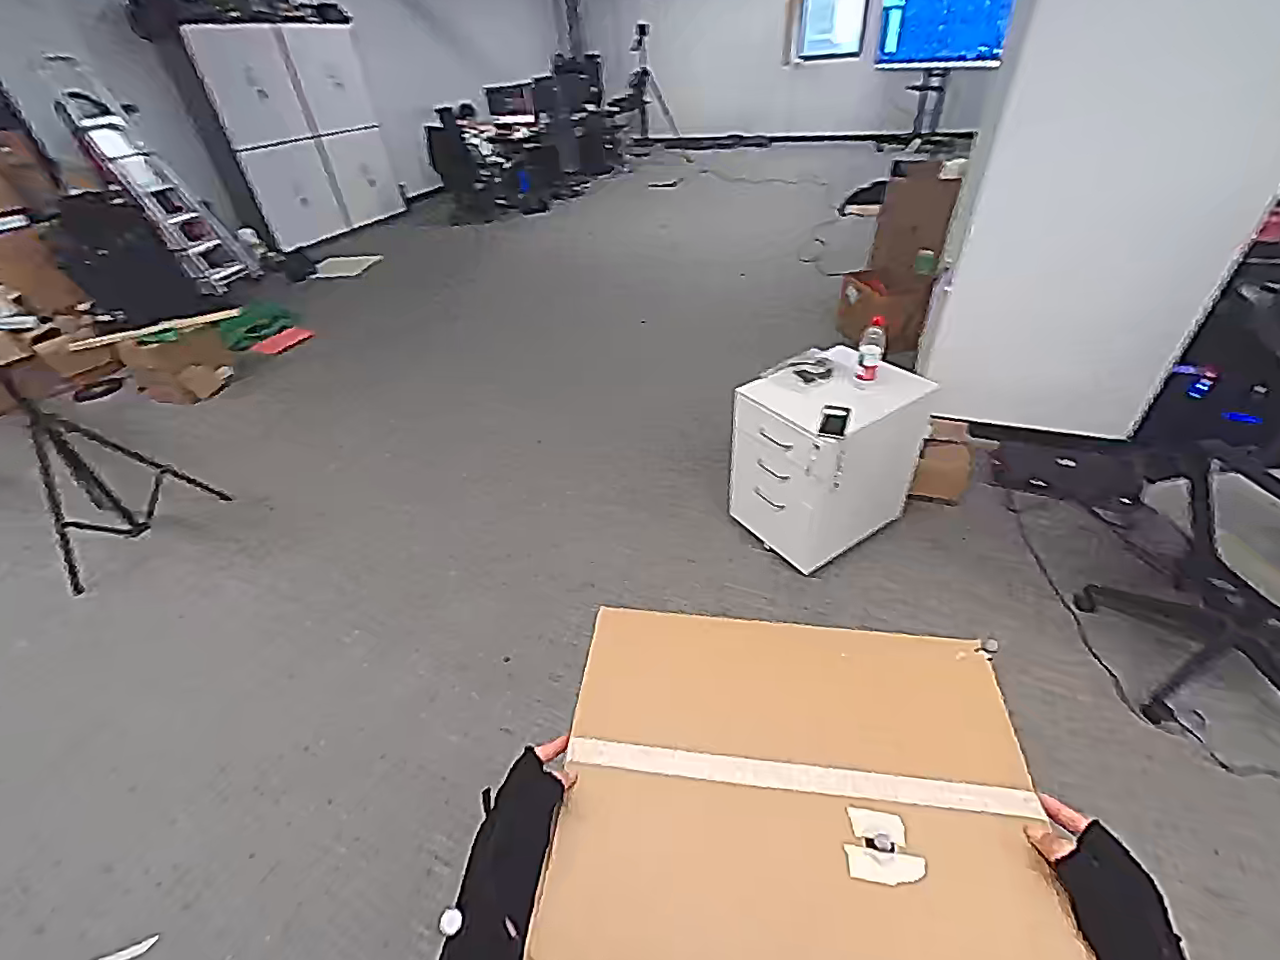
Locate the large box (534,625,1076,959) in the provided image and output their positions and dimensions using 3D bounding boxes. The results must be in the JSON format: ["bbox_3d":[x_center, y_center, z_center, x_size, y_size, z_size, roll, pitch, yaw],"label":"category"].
[{"bbox_3d":[0.135,0.385,0.582,0.408,0.320,0.320,3,44,7],"label":"large box"}]
